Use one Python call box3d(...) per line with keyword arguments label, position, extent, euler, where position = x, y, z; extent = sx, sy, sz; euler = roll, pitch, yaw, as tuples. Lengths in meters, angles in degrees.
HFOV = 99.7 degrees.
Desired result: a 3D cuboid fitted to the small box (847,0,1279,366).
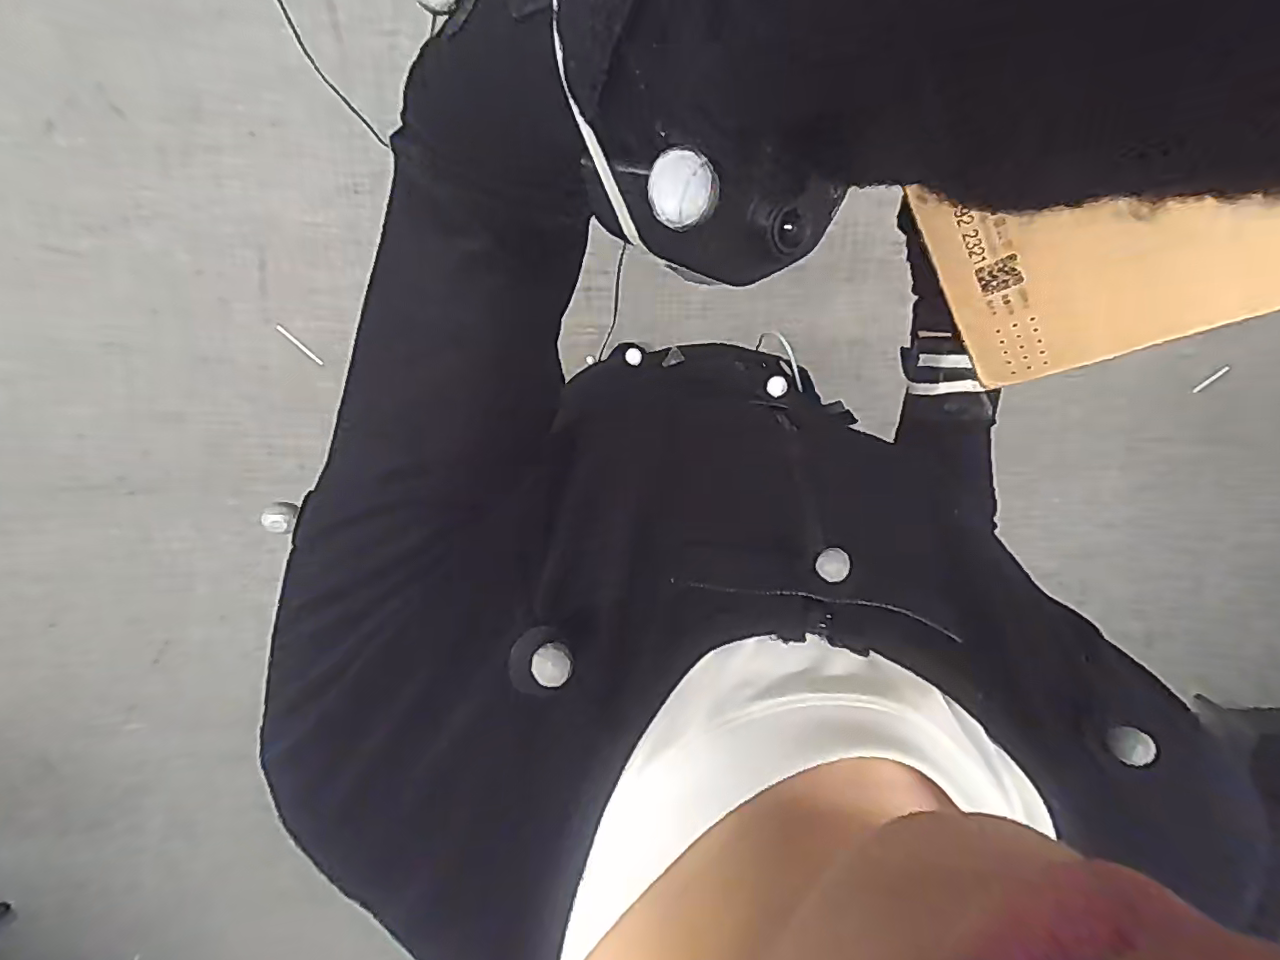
box3d(label="small box", position=(0.204, -0.184, 0.237), extent=(0.176, 0.179, 0.168), euler=(-18, 127, 38))
